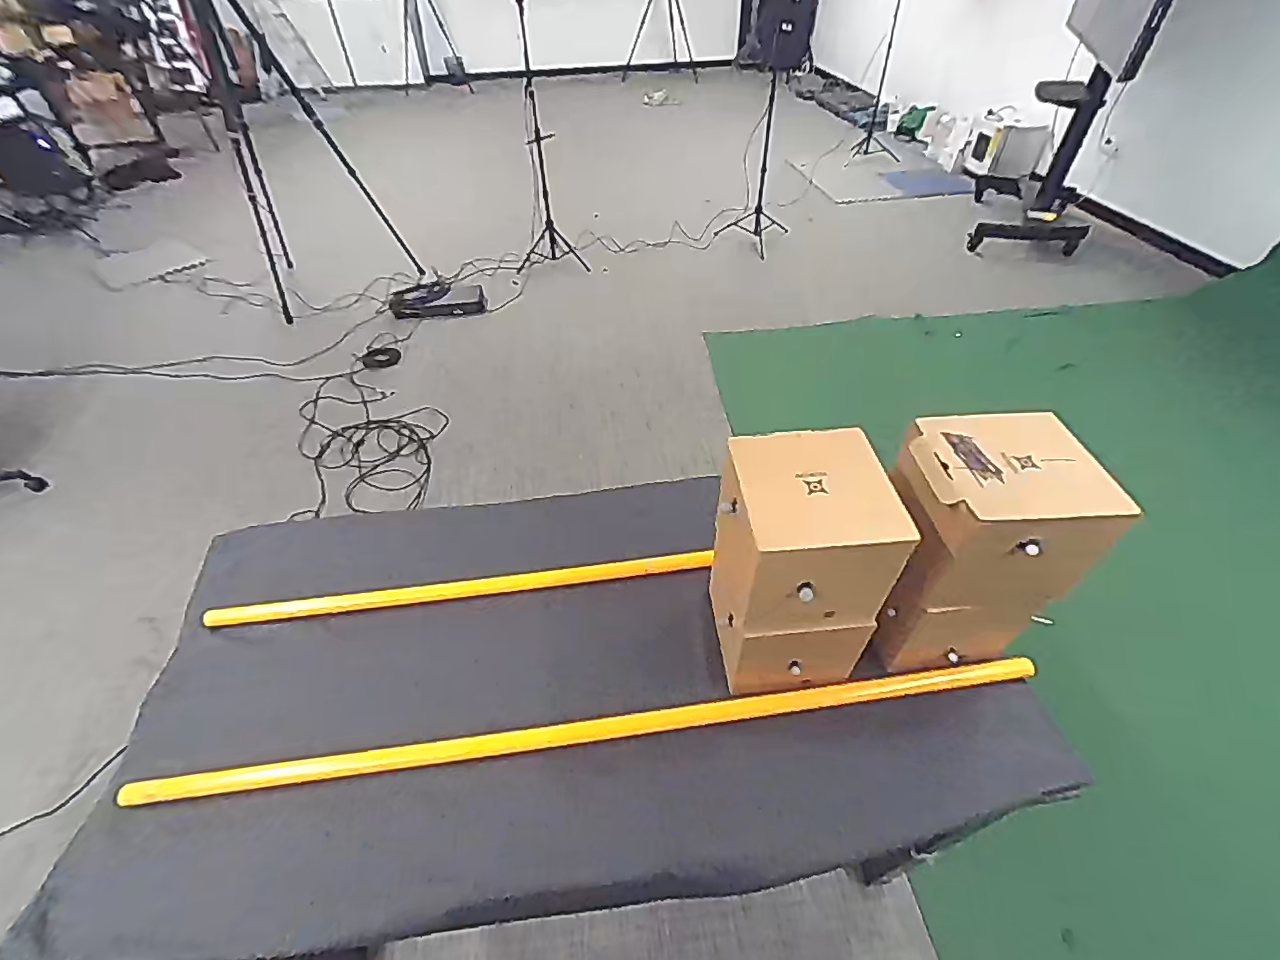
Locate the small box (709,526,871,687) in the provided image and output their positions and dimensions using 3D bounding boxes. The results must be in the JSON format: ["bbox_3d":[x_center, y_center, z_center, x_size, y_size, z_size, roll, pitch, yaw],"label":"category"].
[{"bbox_3d":[0.194,0.176,0.759,0.168,0.176,0.179,-4,46,-3],"label":"small box"}]

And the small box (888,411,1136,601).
[{"bbox_3d":[0.417,0.035,0.658,0.179,0.176,0.168,-3,46,-1],"label":"small box"}]

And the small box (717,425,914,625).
[{"bbox_3d":[0.189,0.059,0.645,0.168,0.176,0.179,-5,45,-2],"label":"small box"}]
